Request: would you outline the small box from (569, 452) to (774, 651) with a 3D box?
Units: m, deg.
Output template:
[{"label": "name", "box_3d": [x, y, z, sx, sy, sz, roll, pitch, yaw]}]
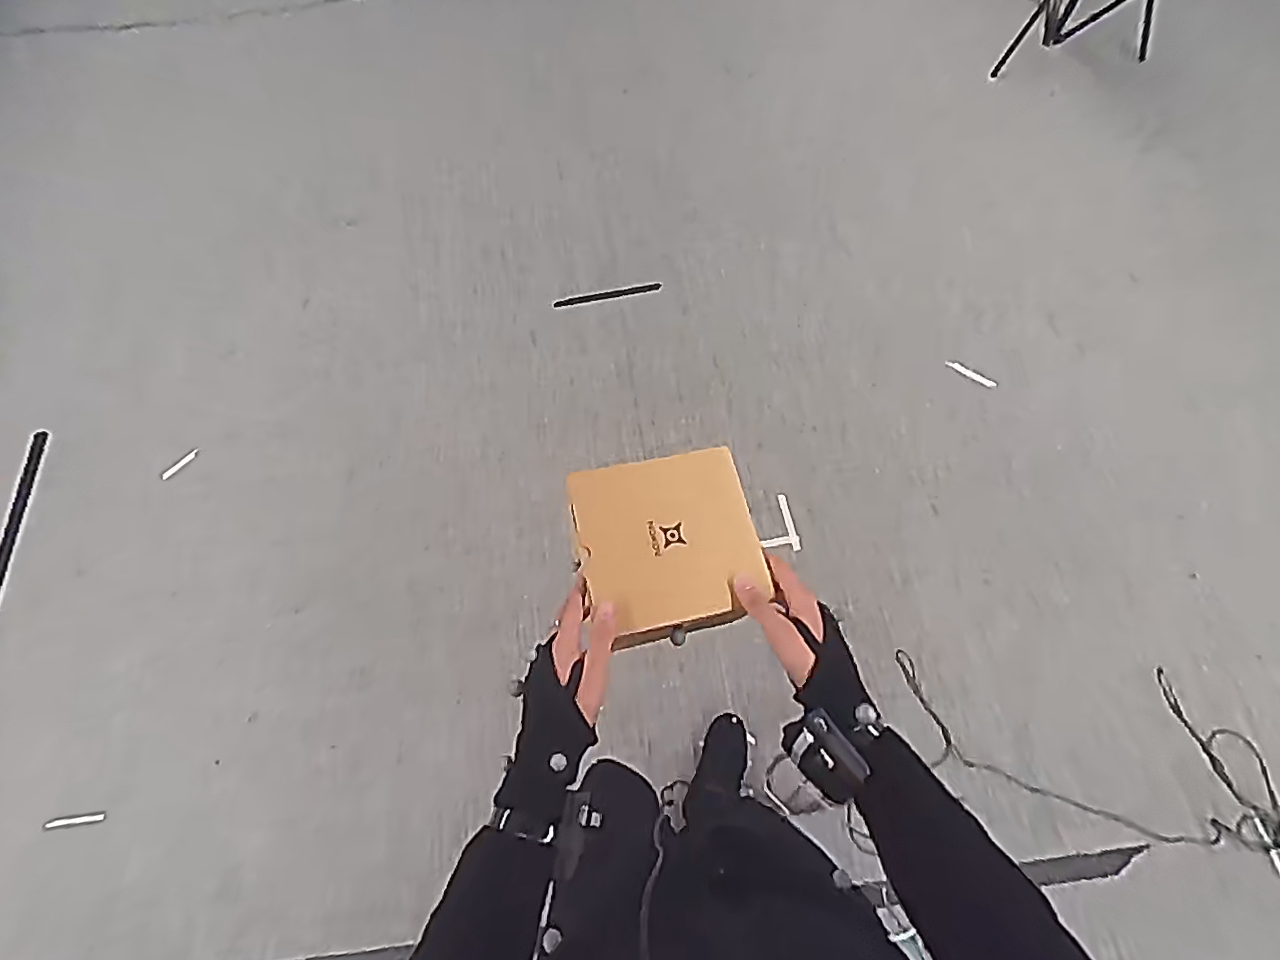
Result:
[{"label": "small box", "box_3d": [0.022, 0.087, 0.604, 0.179, 0.176, 0.168, -11, 70, -8]}]
